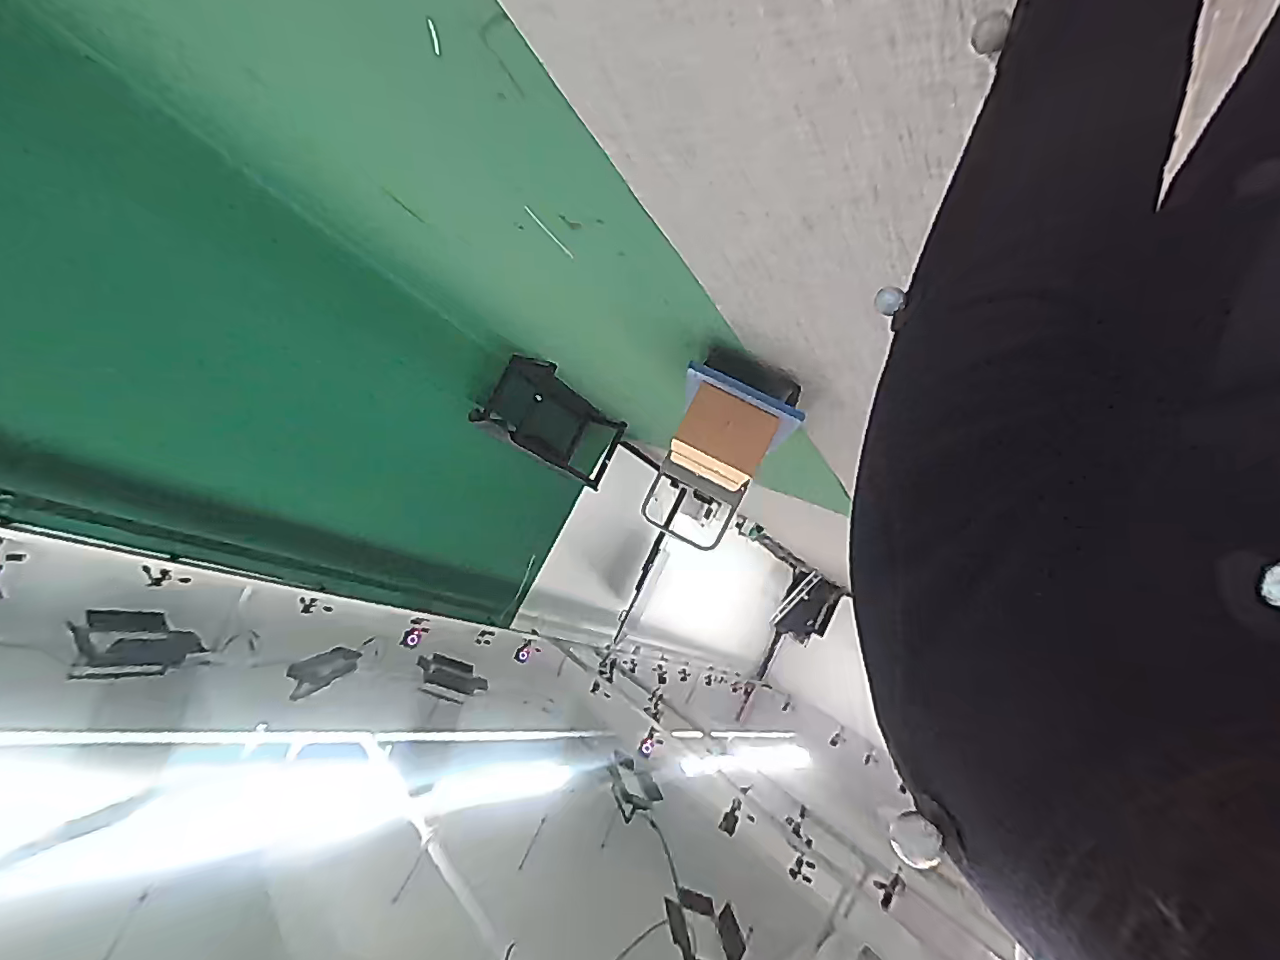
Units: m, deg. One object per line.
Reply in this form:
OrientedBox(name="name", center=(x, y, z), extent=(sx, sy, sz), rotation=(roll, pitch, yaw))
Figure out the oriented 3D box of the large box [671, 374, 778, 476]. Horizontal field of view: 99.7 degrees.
OrientedBox(name="large box", center=(0.396, -0.259, 2.612), extent=(0.408, 0.320, 0.320), rotation=(26, 175, 4))
